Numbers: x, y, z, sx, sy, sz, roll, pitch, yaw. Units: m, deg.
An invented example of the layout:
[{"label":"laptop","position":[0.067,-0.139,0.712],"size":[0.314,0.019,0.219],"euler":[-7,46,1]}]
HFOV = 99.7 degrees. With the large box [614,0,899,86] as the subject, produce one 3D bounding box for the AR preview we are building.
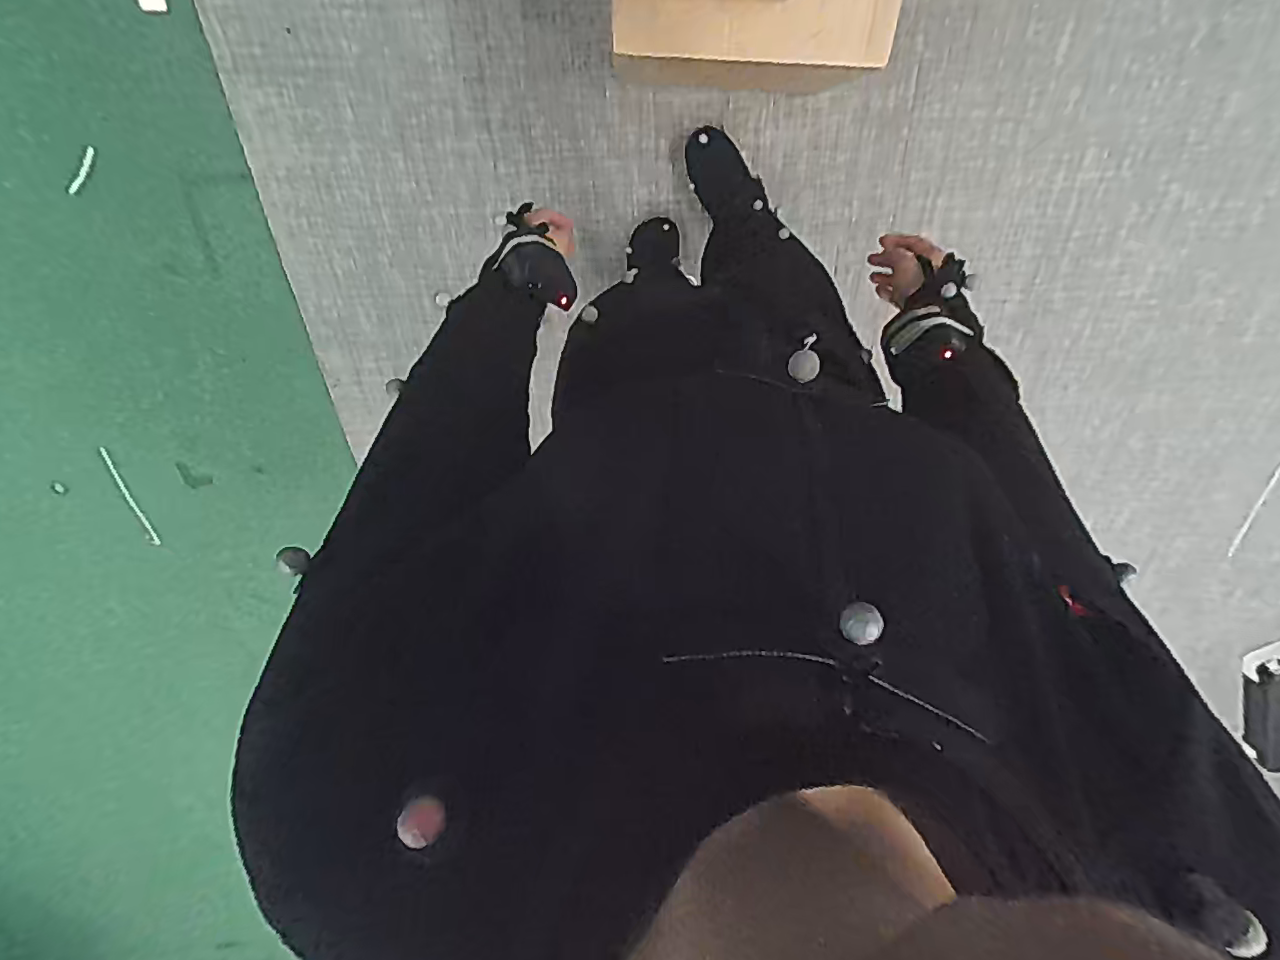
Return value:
[{"label":"large box","position":[0.159,-0.816,0.831],"size":[0.408,0.320,0.320],"euler":[0,121,-3]}]
